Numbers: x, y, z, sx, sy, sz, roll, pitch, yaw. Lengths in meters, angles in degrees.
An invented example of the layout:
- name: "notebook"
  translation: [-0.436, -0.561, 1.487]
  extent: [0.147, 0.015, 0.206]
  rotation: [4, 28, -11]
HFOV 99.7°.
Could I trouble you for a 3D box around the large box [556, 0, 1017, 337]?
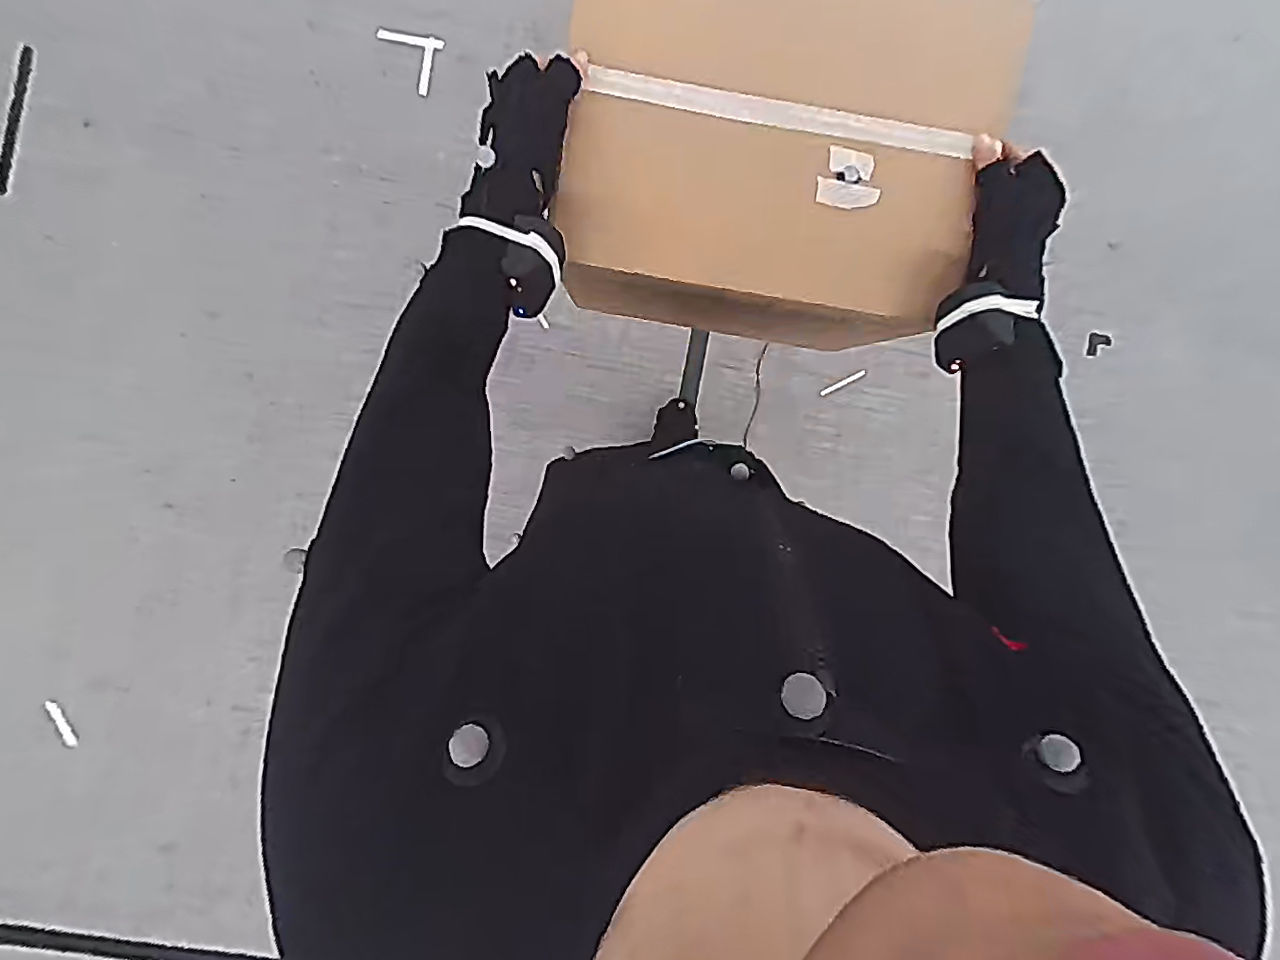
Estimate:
- name: "large box"
  translation: [0.128, -0.369, 0.651]
  extent: [0.408, 0.320, 0.320]
  rotation: [8, 99, -3]
